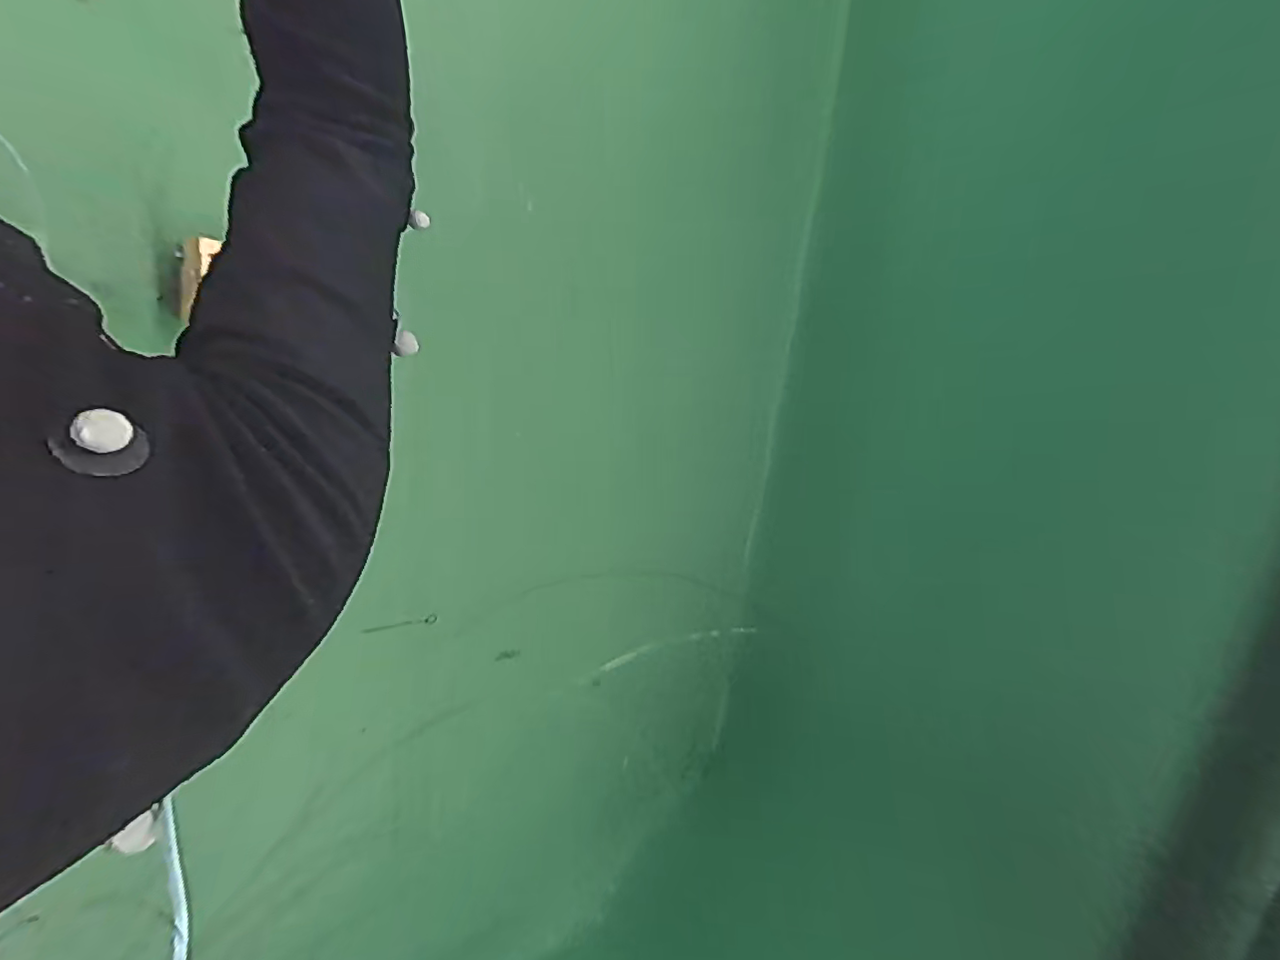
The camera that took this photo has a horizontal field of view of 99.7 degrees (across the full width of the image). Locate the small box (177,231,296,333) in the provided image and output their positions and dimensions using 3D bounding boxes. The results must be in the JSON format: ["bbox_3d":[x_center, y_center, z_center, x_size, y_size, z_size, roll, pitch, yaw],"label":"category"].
[{"bbox_3d":[-0.841,-0.405,1.126,0.179,0.176,0.168,-6,108,-48],"label":"small box"}]
